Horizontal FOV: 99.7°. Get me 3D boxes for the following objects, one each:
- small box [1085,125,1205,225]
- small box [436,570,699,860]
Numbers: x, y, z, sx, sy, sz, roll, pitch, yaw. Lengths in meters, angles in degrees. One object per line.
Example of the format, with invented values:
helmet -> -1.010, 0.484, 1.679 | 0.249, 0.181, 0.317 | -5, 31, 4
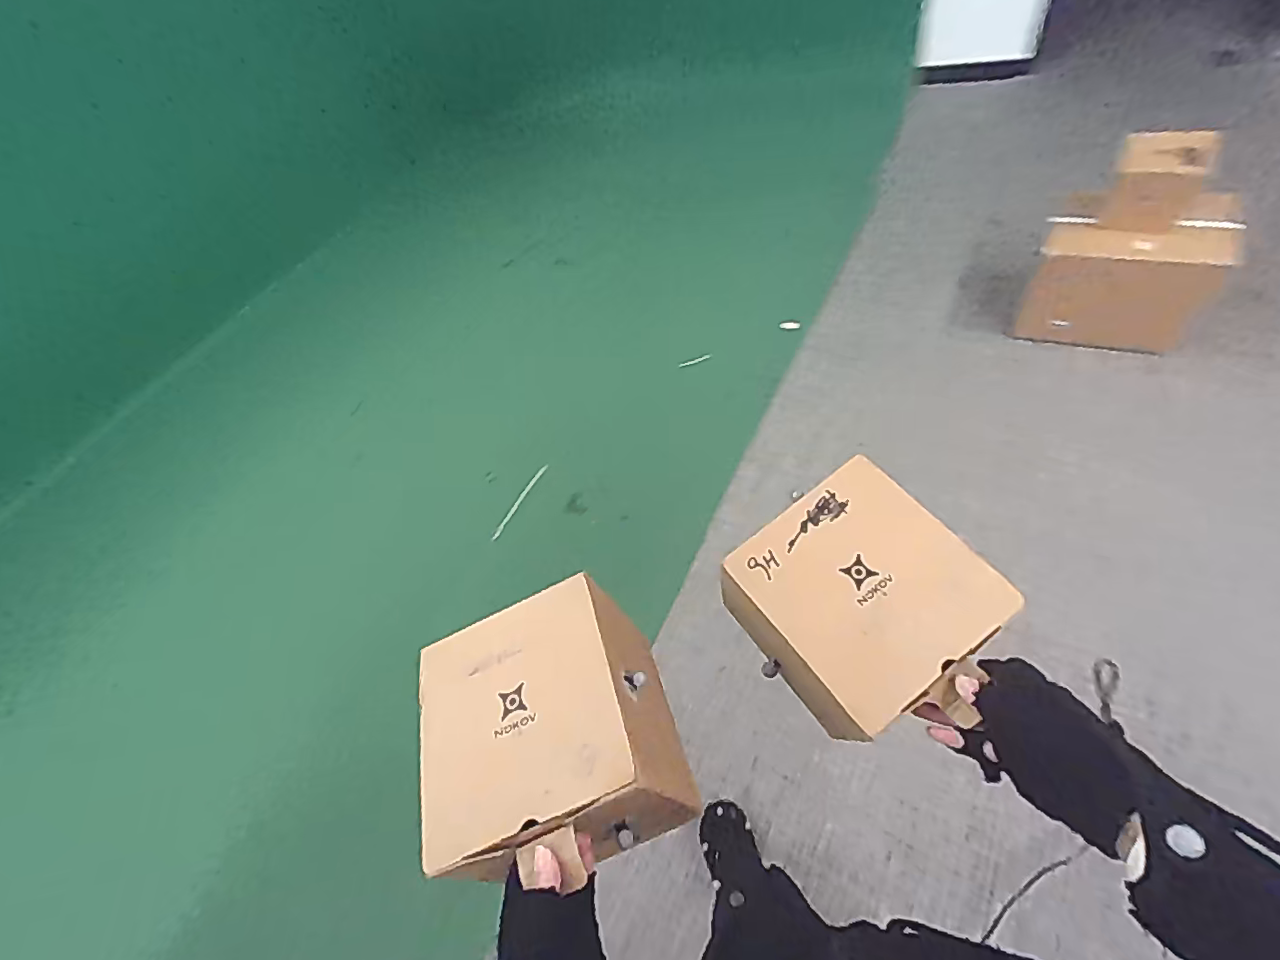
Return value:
small box -> 1.316, -0.795, 1.418 | 0.179, 0.176, 0.168 | 15, 69, 25
small box -> -0.063, 0.220, 0.491 | 0.168, 0.176, 0.179 | -26, 46, 4
